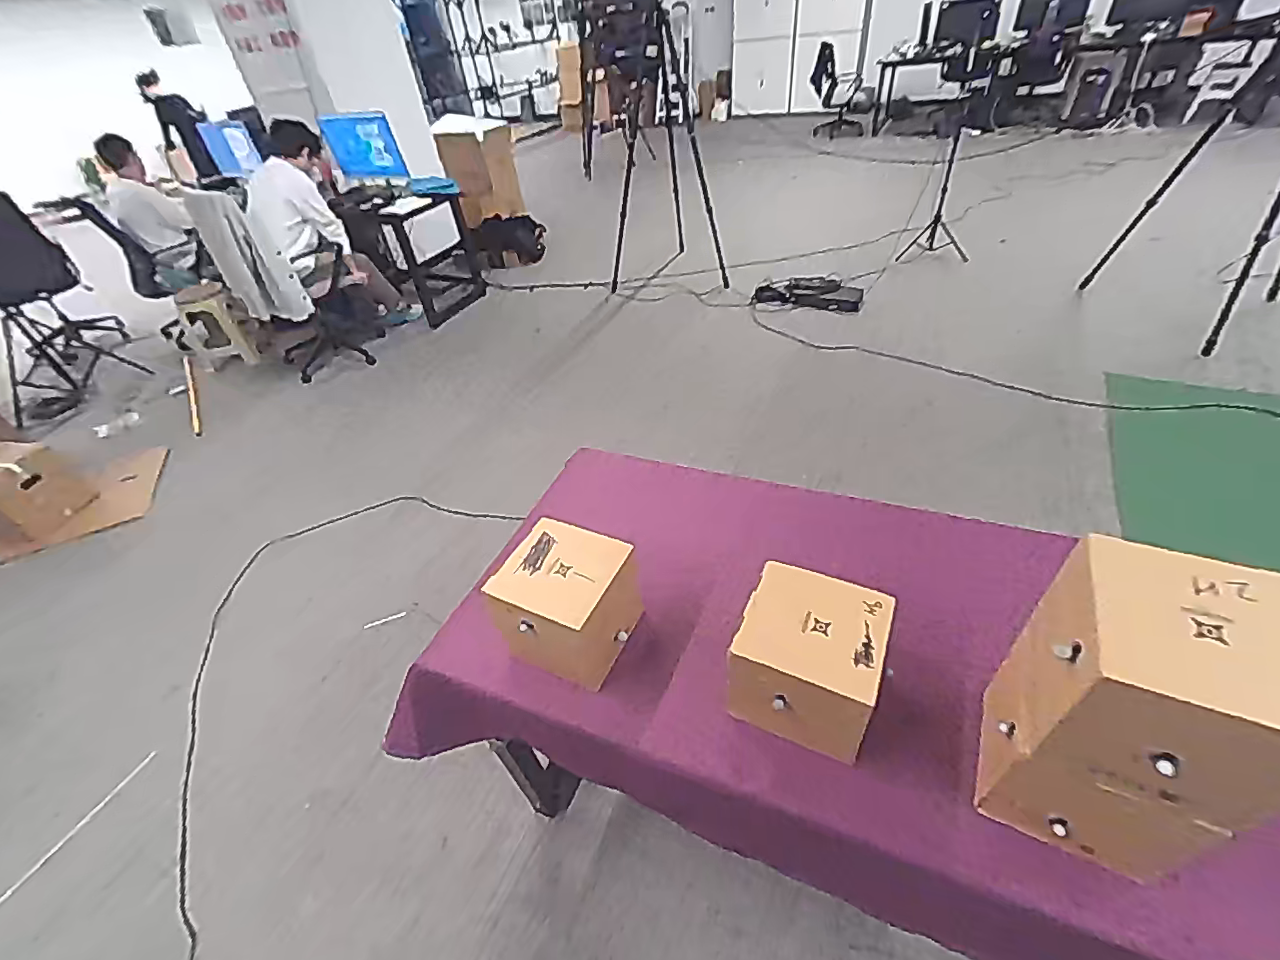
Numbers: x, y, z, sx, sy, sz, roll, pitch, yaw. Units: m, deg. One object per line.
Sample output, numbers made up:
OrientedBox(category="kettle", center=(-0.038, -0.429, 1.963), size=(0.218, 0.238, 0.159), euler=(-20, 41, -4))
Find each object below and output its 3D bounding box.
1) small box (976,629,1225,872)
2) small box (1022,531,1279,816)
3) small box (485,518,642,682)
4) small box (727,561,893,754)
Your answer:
OrientedBox(category="small box", center=(0.513, 0.308, 0.634), size=(0.168, 0.176, 0.179), euler=(15, 46, 25))
OrientedBox(category="small box", center=(0.496, 0.185, 0.525), size=(0.168, 0.176, 0.179), euler=(15, 46, 24))
OrientedBox(category="small box", center=(-0.111, 0.192, 0.866), size=(0.179, 0.176, 0.168), euler=(15, 46, 23))
OrientedBox(category="small box", center=(0.232, 0.245, 0.750), size=(0.179, 0.176, 0.168), euler=(14, 45, 25))
